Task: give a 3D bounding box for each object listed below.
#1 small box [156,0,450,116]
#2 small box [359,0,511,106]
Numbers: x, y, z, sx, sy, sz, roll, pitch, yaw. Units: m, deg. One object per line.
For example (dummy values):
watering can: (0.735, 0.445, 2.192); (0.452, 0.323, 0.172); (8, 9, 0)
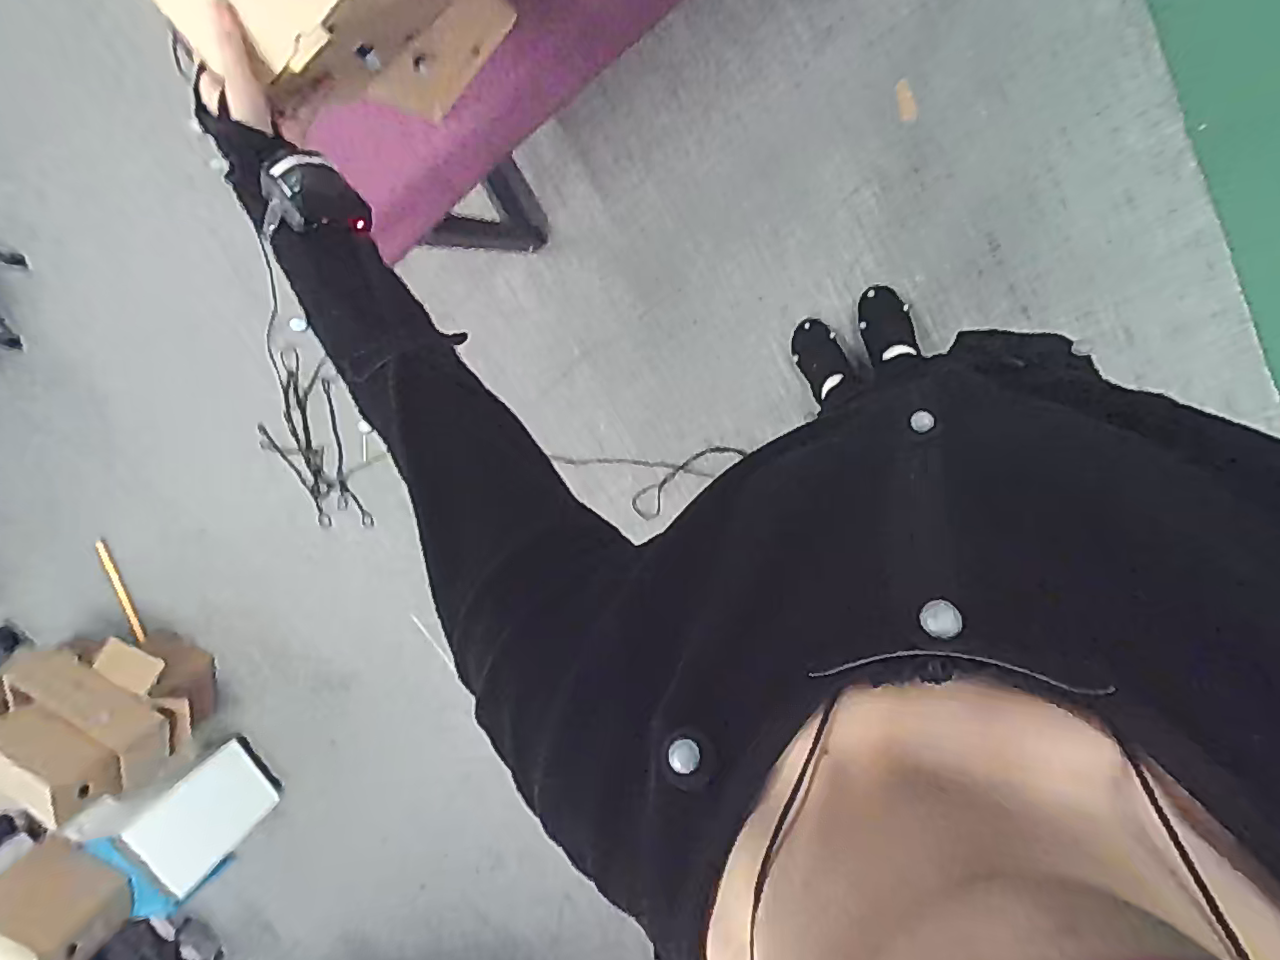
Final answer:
small box: (-0.290, -0.444, 0.444); (0.168, 0.176, 0.179); (-22, 122, 23)
small box: (-0.278, -0.558, 0.599); (0.168, 0.176, 0.179); (-33, 97, 25)
